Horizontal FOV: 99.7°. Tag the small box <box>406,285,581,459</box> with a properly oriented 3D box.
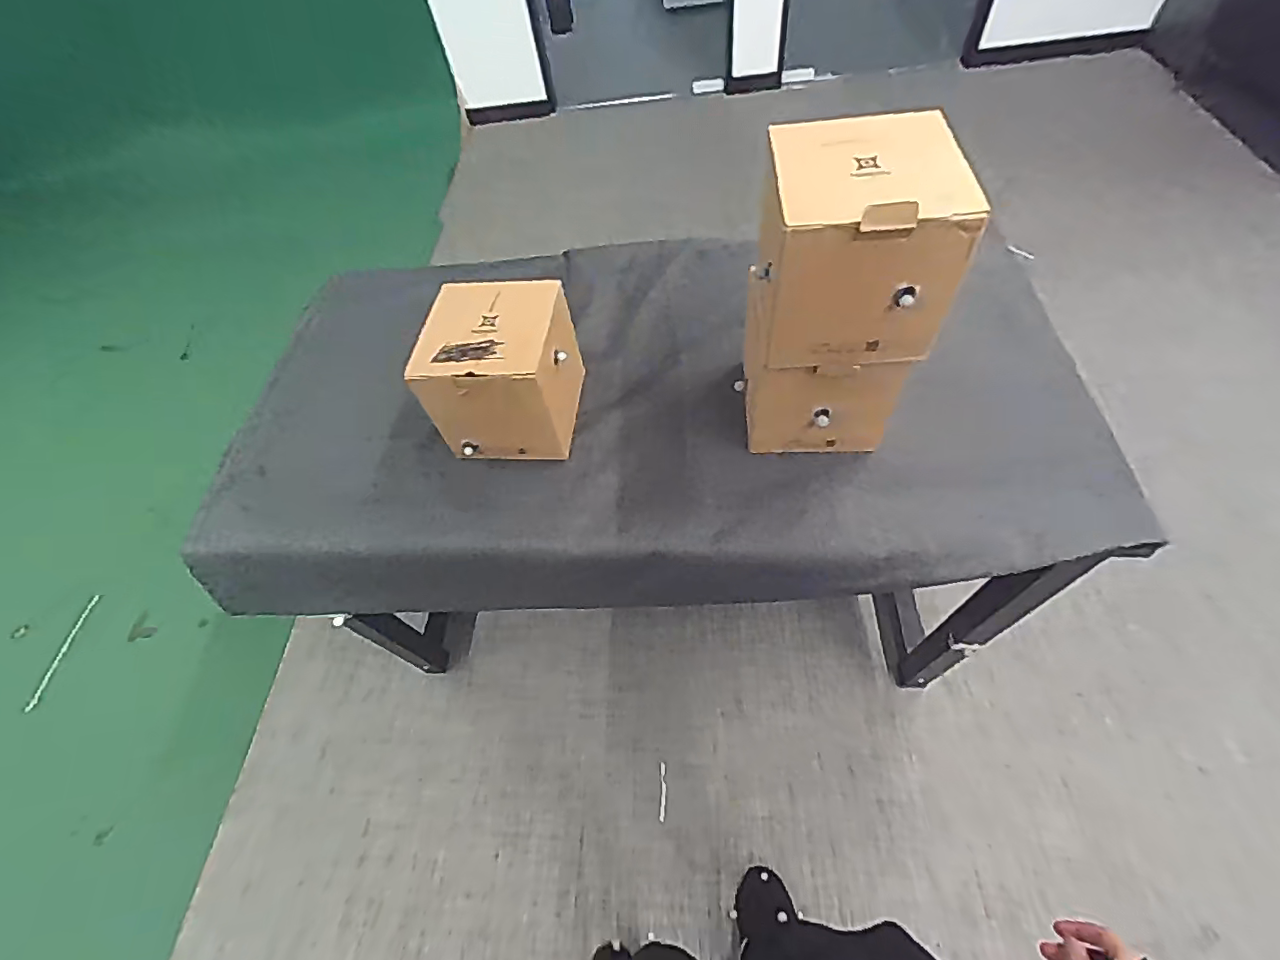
[{"bbox_3d":[-0.184,-0.143,0.747,0.168,0.176,0.179,1,56,8],"label":"small box"}]

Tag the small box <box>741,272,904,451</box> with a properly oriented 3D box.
[{"bbox_3d":[0.219,-0.150,0.700,0.168,0.176,0.179,-1,57,7],"label":"small box"}]

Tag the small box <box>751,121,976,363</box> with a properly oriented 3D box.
[{"bbox_3d":[0.208,-0.235,0.562,0.168,0.176,0.179,-1,56,6],"label":"small box"}]
